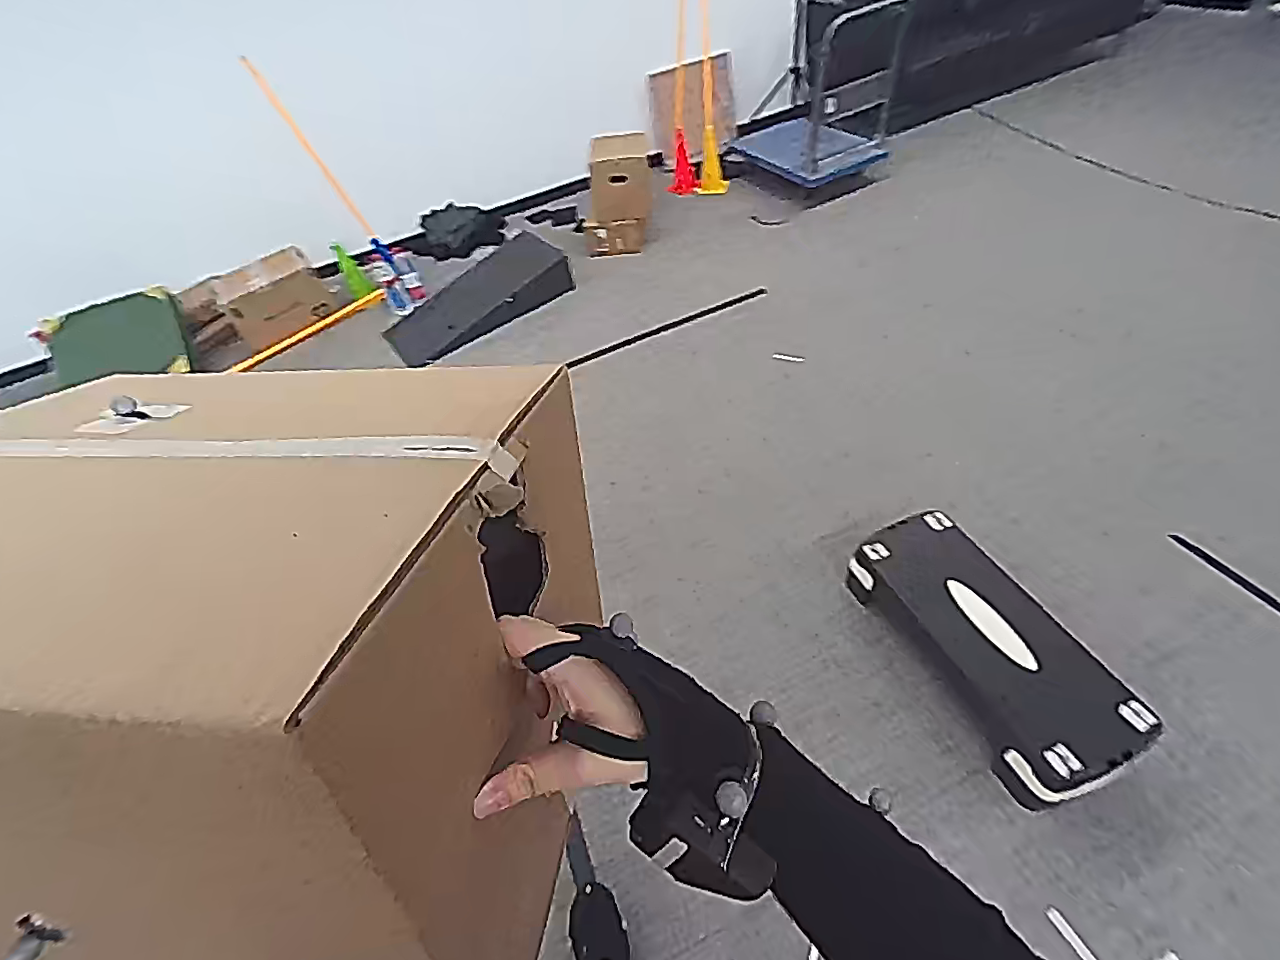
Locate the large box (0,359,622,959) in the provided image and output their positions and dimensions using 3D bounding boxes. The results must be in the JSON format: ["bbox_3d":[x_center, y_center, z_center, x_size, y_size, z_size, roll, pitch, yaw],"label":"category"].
[{"bbox_3d":[-0.245,0.118,0.385,0.408,0.320,0.320,0,30,11],"label":"large box"}]

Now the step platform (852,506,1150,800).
[{"bbox_3d":[0.828,0.379,1.340,0.286,0.204,0.684,-19,47,-5],"label":"step platform"}]
